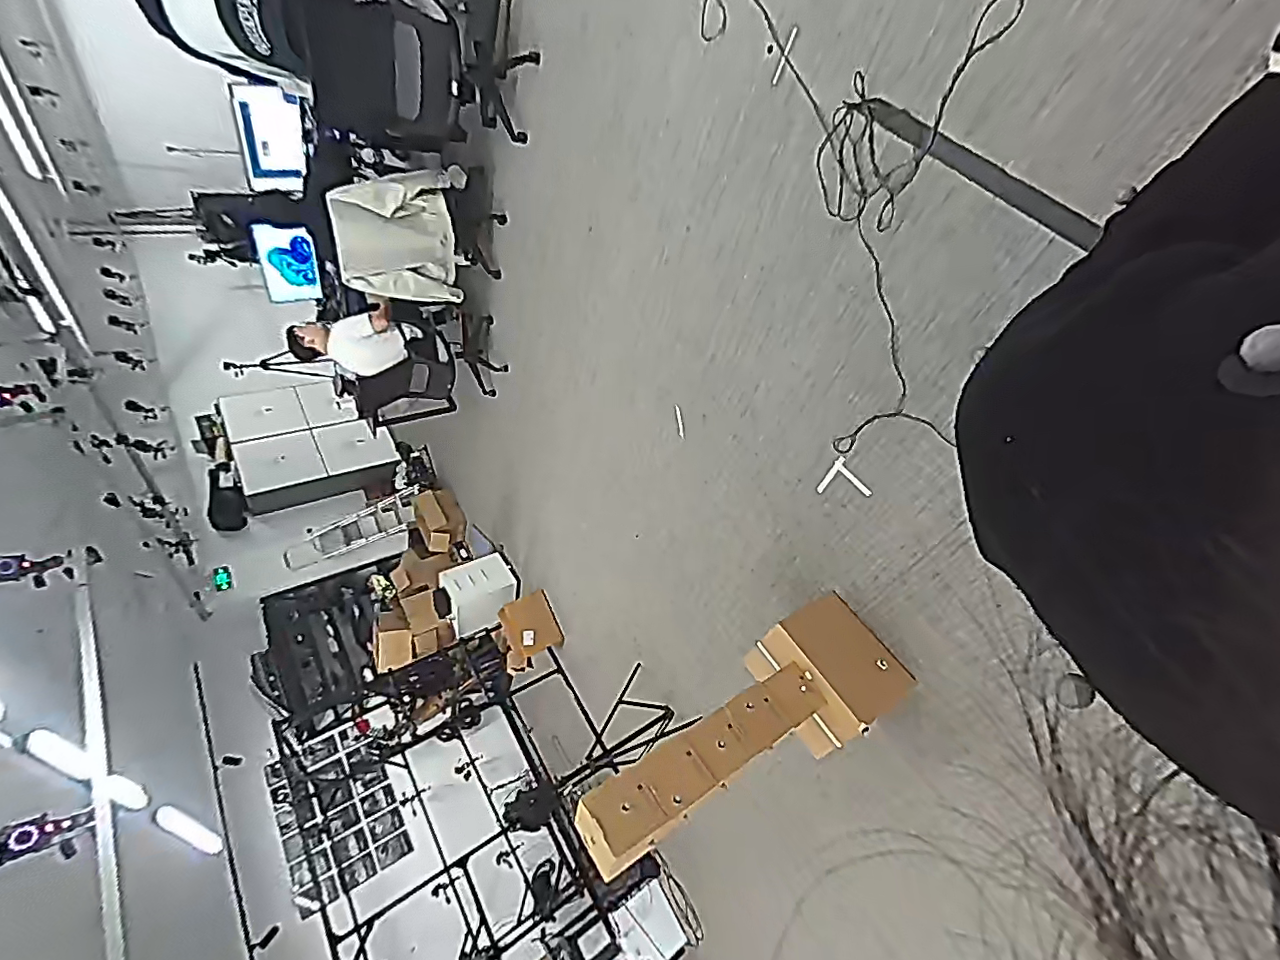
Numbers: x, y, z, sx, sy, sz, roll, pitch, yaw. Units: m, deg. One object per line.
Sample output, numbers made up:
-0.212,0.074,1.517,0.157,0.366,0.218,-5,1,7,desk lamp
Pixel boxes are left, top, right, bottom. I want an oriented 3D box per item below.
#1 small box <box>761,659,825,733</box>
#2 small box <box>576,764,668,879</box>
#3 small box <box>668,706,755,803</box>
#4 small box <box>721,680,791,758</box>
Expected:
0.475,0.726,1.785,0.168,0.176,0.179,51,141,28,small box
-0.046,0.893,1.427,0.168,0.176,0.179,46,138,36,small box
0.215,0.811,1.607,0.168,0.176,0.179,49,140,33,small box
0.345,0.762,1.696,0.168,0.176,0.179,51,143,30,small box
